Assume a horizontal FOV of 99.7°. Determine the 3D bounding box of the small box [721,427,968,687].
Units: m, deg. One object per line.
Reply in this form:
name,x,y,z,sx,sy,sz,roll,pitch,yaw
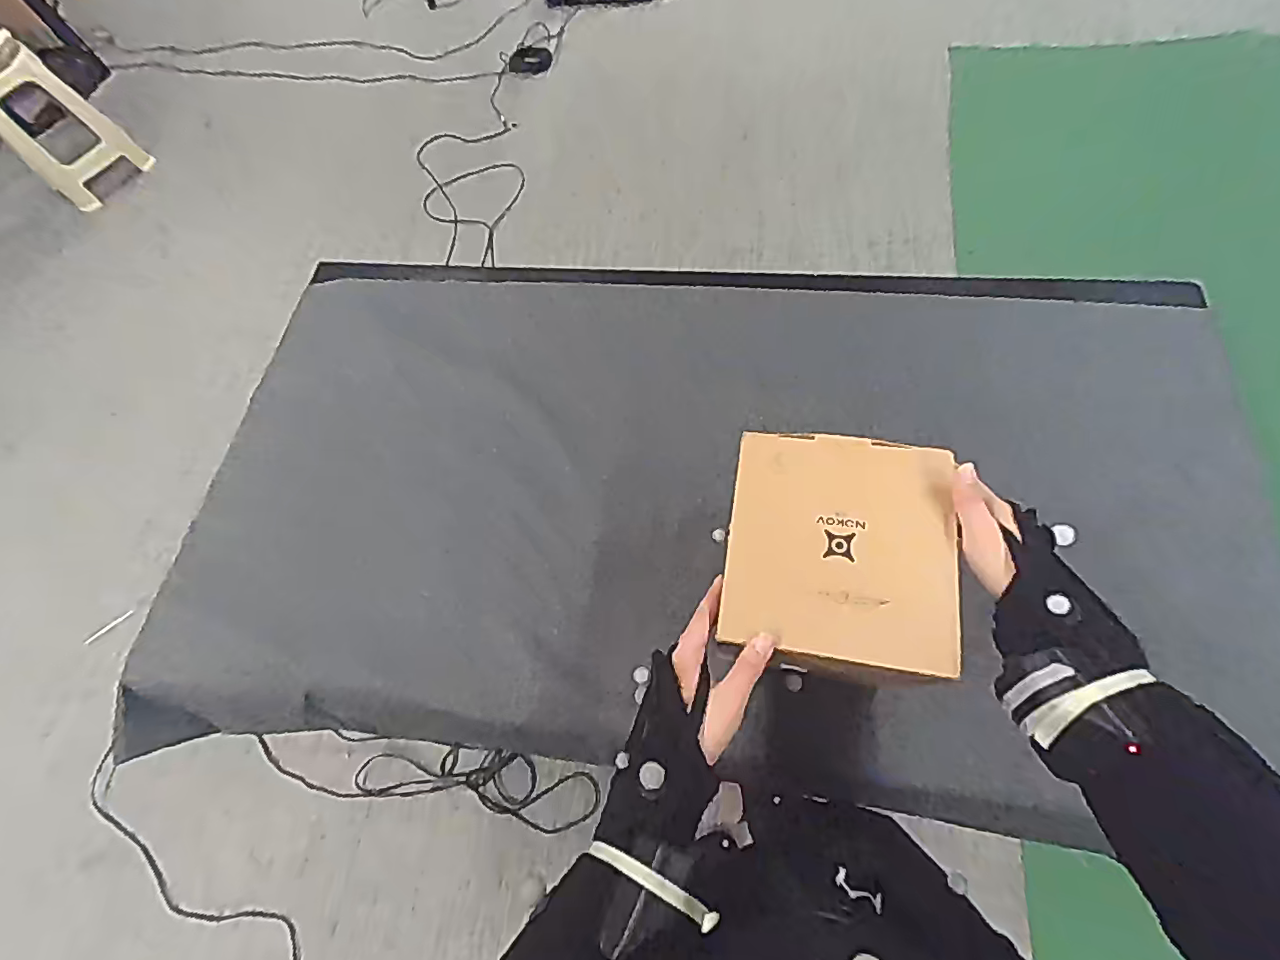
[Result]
small box,0.163,0.074,0.473,0.168,0.176,0.179,5,69,13
